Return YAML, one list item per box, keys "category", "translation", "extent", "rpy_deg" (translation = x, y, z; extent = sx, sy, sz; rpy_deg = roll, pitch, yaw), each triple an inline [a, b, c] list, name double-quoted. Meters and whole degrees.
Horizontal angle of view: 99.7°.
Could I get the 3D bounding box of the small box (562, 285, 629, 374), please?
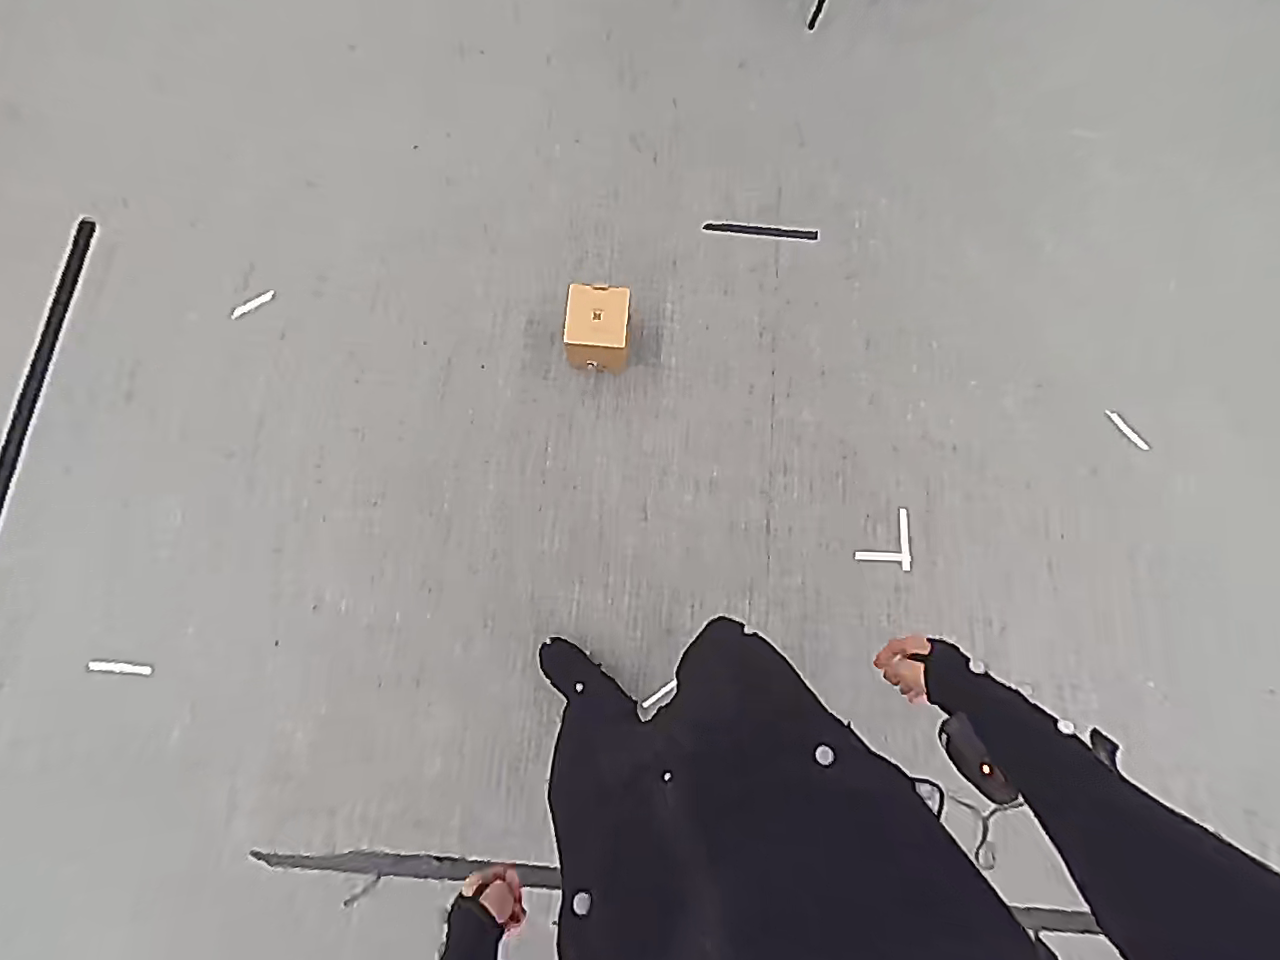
- category: "small box"
  translation: [-0.122, -0.418, 1.520]
  extent: [0.168, 0.176, 0.179]
  rpy_deg: [5, 78, 0]
